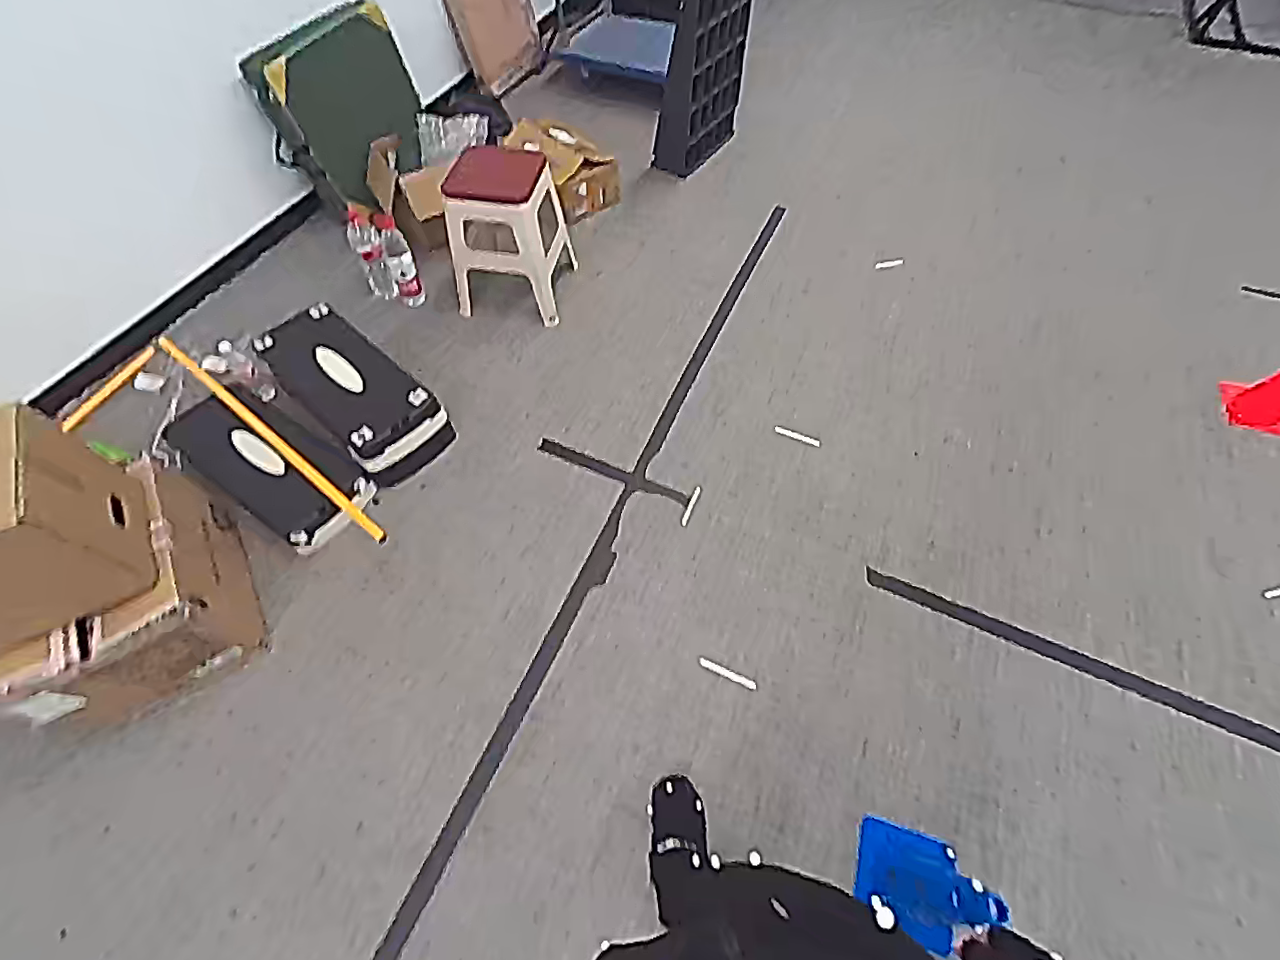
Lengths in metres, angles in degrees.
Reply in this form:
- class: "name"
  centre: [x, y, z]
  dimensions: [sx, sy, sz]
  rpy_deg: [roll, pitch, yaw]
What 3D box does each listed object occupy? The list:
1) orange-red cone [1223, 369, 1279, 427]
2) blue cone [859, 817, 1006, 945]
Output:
- class: "orange-red cone"
  centre: [2.043, -0.347, 1.639]
  dimensions: [0.199, 0.360, 0.198]
  rpy_deg: [16, 59, 13]
- class: "blue cone"
  centre: [0.555, 0.750, 0.993]
  dimensions: [0.193, 0.380, 0.192]
  rpy_deg: [16, 60, 11]
